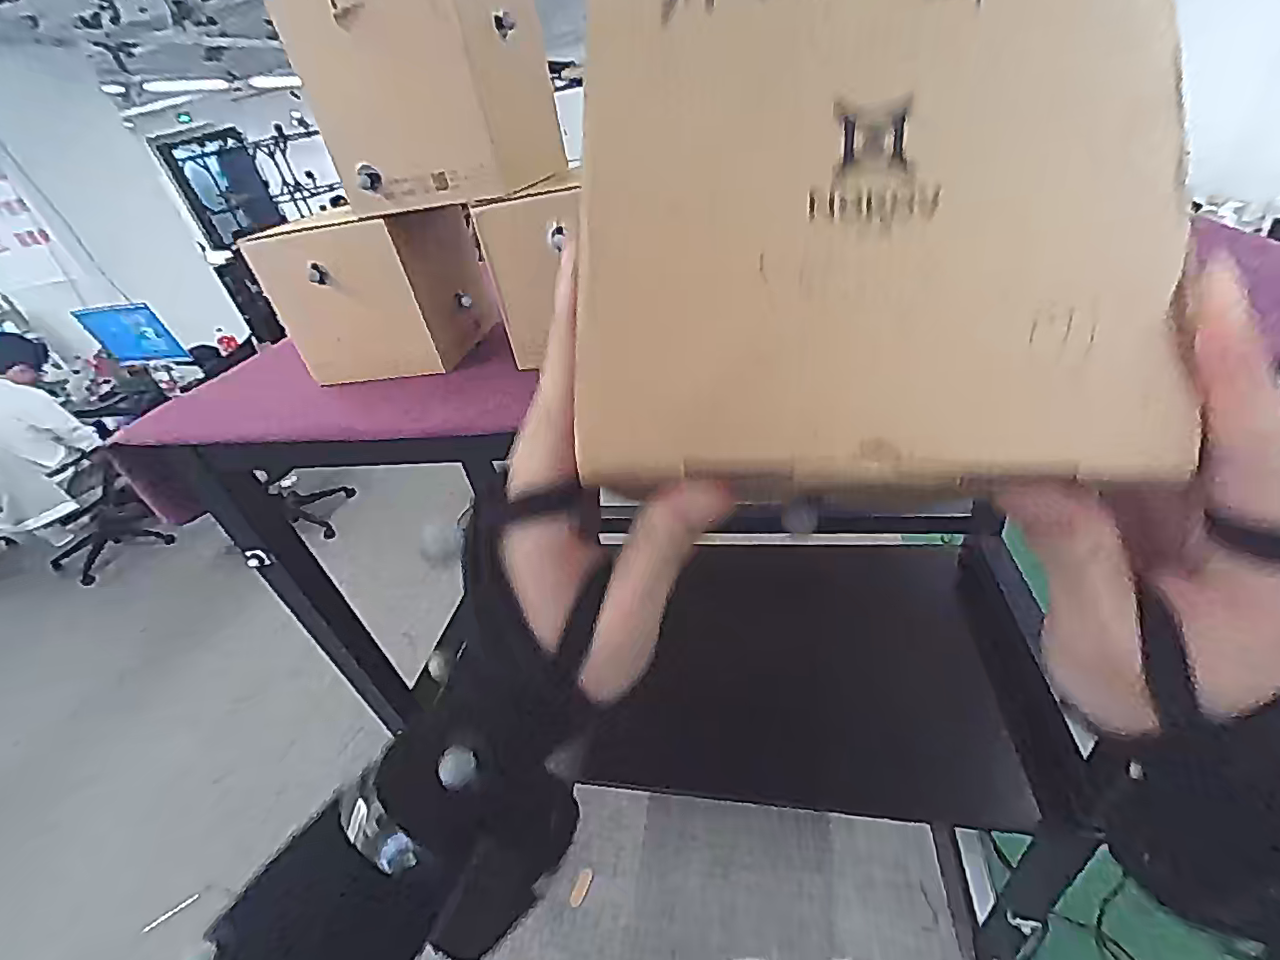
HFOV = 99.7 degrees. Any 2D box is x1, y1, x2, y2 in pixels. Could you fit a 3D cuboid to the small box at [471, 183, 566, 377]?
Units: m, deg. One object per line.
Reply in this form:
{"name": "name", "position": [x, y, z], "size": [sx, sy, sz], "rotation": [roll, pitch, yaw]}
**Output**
{"name": "small box", "position": [-0.042, -0.219, 0.576], "size": [0.179, 0.176, 0.168], "rotation": [-2, 36, 15]}

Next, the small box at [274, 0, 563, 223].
{"name": "small box", "position": [-0.189, -0.357, 0.526], "size": [0.168, 0.176, 0.179], "rotation": [0, 36, 16]}

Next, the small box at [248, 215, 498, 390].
{"name": "small box", "position": [-0.300, -0.218, 0.650], "size": [0.179, 0.176, 0.168], "rotation": [-3, 36, 13]}

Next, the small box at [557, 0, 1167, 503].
{"name": "small box", "position": [0.066, -0.080, 0.235], "size": [0.168, 0.179, 0.176], "rotation": [1, -5, 4]}
